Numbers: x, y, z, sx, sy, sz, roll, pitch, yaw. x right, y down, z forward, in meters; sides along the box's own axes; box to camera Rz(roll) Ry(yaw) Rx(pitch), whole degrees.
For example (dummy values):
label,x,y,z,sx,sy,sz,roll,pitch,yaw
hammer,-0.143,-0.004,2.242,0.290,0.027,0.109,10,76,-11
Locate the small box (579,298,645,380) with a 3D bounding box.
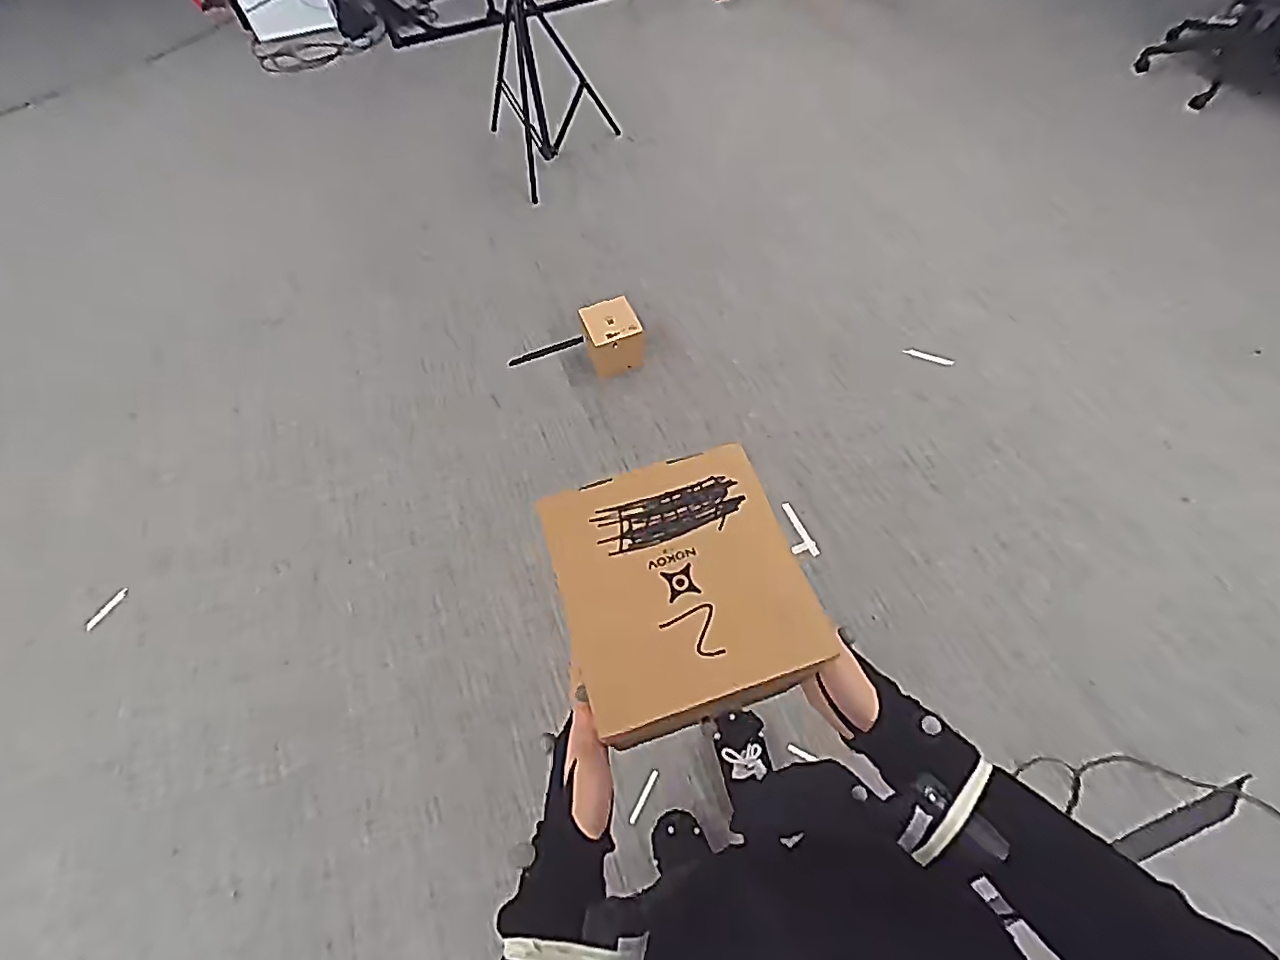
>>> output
label,x,y,z,sx,sy,sz,roll,pitch,yaw
small box,-0.091,-0.469,1.808,0.168,0.176,0.179,-21,61,-8
